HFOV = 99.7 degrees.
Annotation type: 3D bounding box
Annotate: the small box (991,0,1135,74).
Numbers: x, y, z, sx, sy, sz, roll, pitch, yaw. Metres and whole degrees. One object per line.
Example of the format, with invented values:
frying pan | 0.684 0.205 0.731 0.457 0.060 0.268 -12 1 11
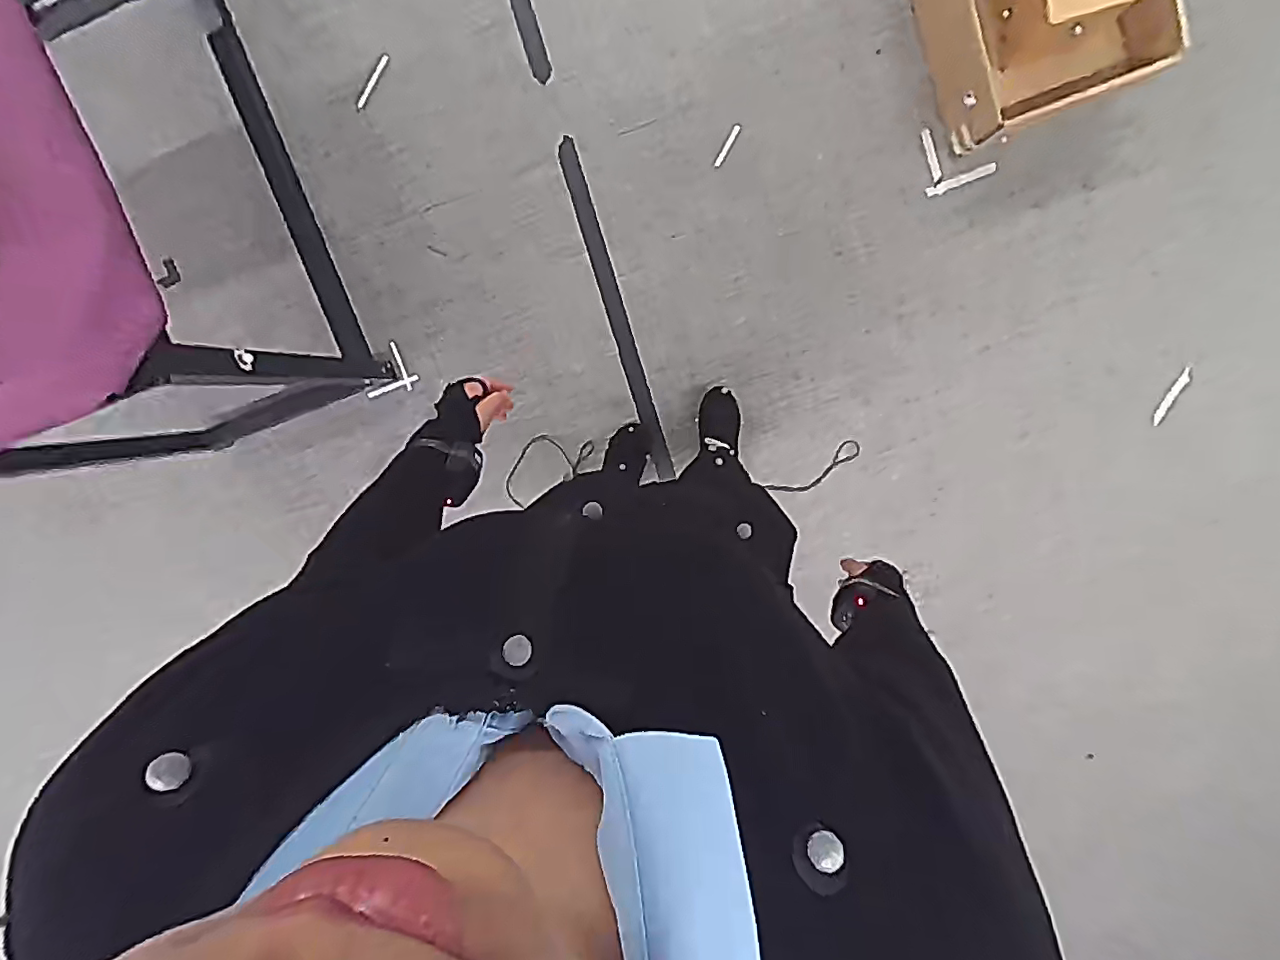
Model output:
small box | 0.902 -1.027 1.165 0.179 0.176 0.168 -13 98 5
